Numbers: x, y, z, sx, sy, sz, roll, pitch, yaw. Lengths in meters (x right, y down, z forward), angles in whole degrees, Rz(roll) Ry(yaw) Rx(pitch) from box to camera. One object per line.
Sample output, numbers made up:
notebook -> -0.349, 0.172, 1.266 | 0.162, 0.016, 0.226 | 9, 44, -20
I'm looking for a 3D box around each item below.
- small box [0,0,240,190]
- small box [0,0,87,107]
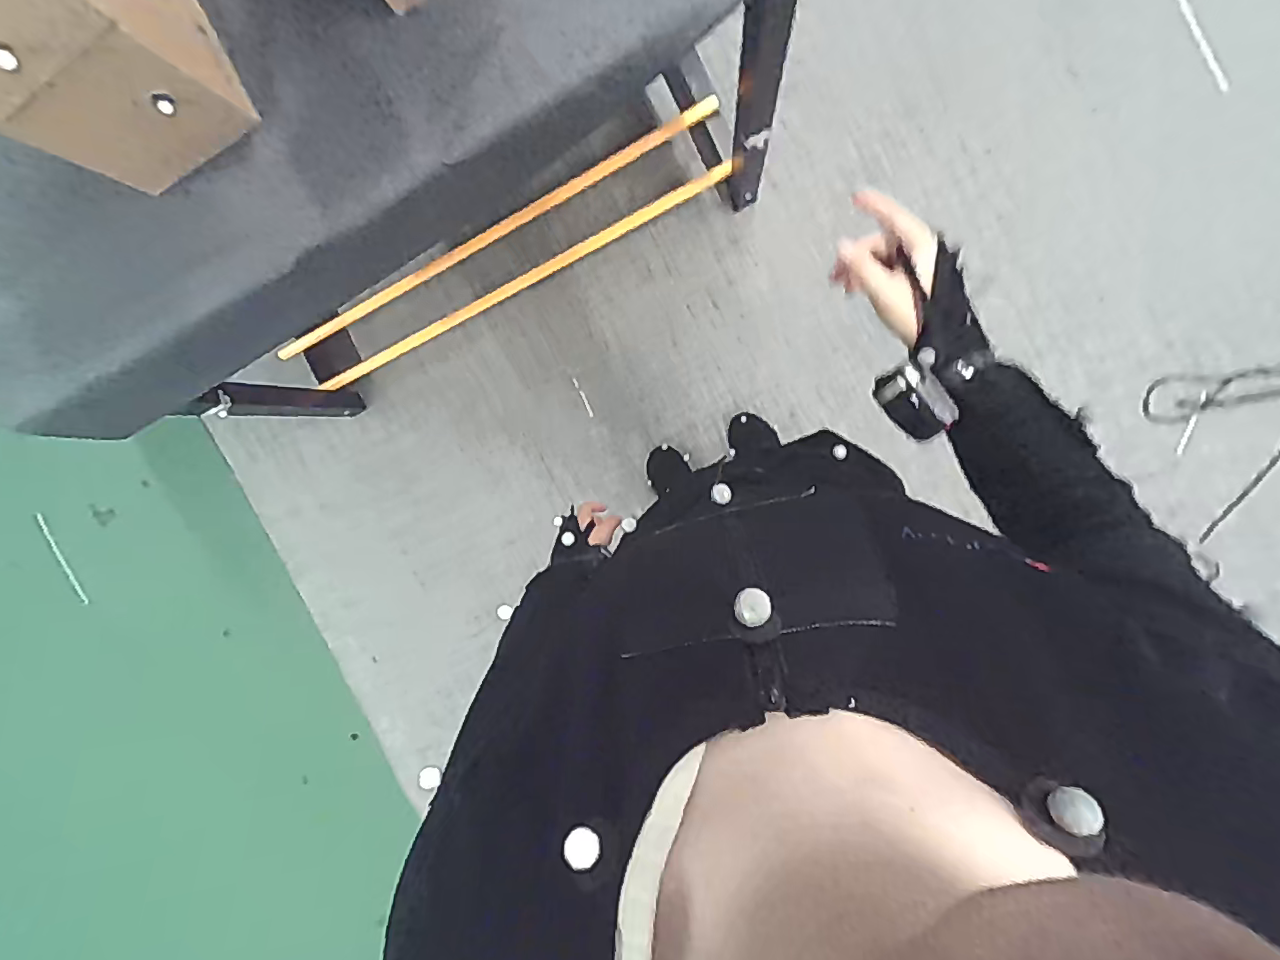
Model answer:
small box -> -0.581, -0.458, 0.581 | 0.179, 0.176, 0.168 | -27, 91, 9
small box -> -0.598, -0.438, 0.418 | 0.179, 0.176, 0.168 | -30, 90, 8
